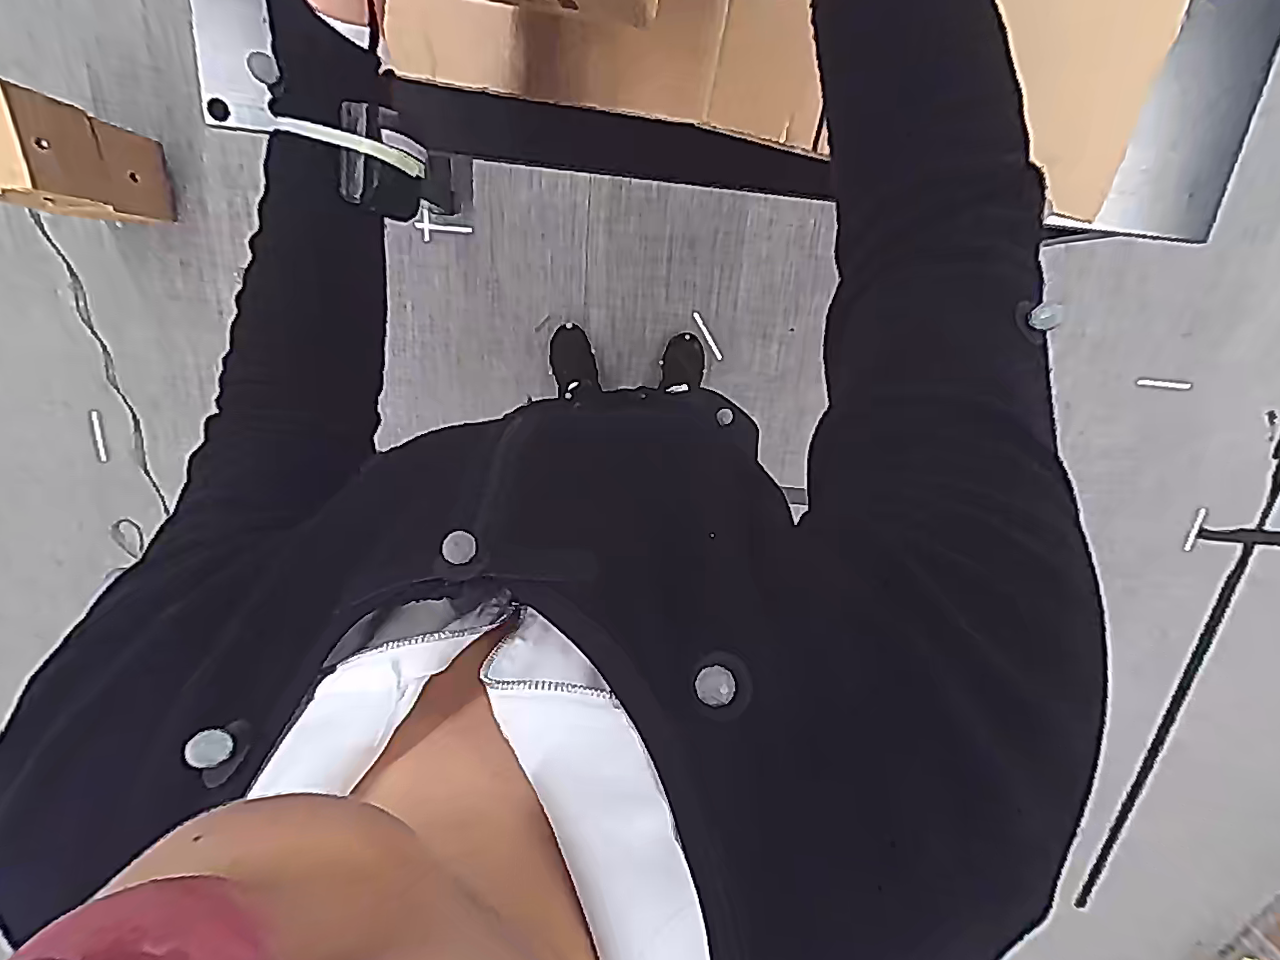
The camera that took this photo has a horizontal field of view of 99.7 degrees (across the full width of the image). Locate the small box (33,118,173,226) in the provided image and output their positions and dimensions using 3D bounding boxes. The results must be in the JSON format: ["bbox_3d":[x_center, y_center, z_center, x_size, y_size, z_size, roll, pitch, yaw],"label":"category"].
[{"bbox_3d":[-1.176,-0.663,1.174,0.168,0.176,0.179,1,108,-2],"label":"small box"}]

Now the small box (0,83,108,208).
[{"bbox_3d":[-1.171,-0.619,1.017,0.168,0.176,0.179,-2,107,-2],"label":"small box"}]
